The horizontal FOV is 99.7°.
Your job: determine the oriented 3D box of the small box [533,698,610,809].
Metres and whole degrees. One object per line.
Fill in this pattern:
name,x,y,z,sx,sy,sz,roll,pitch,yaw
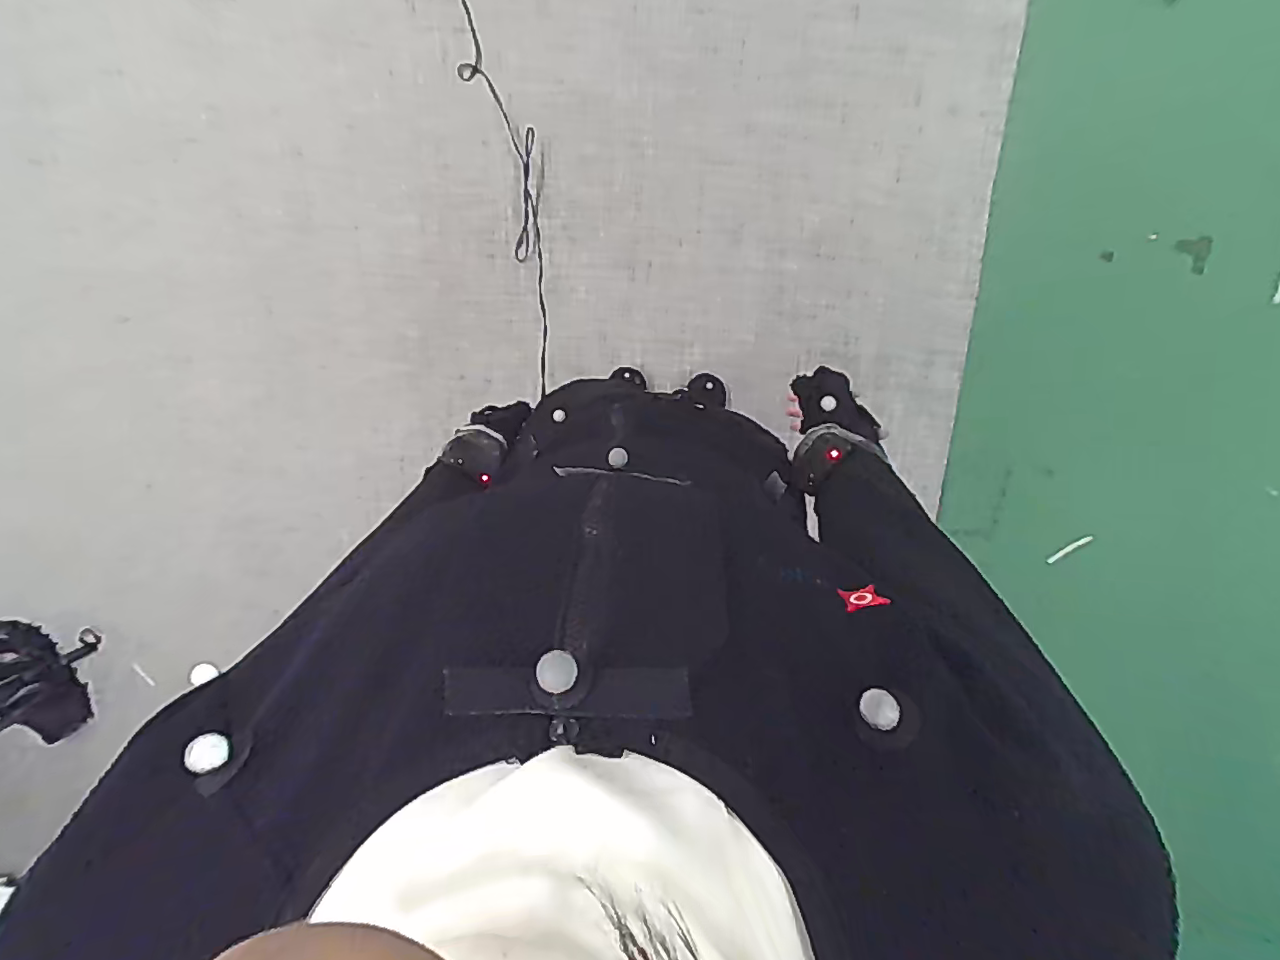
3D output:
small box,-0.167,0.684,1.363,0.168,0.176,0.179,5,102,2
